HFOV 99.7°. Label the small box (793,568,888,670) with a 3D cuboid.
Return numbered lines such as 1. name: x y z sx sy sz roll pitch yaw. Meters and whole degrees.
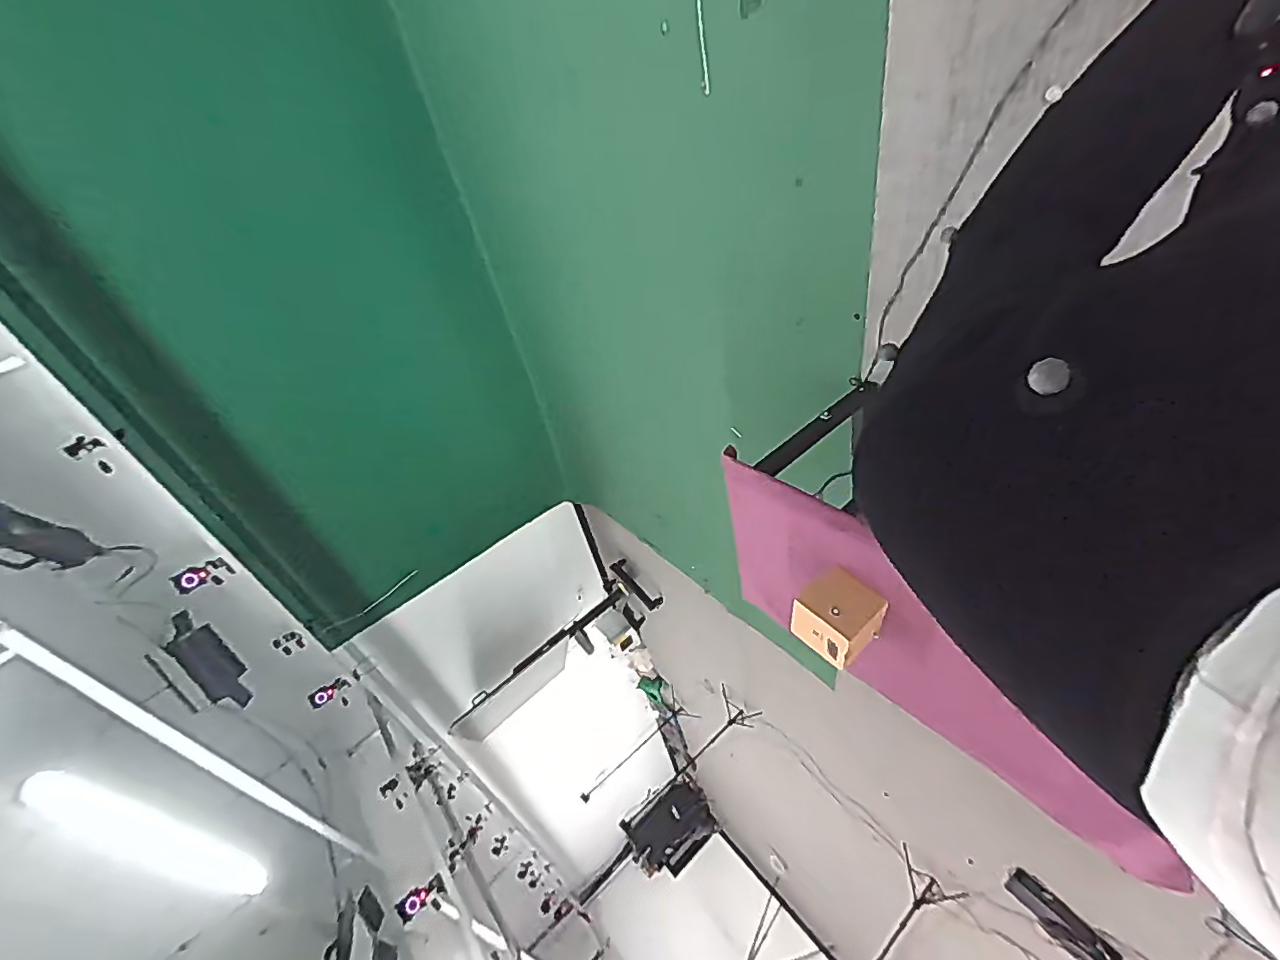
1. small box: 0.547 0.374 1.480 0.179 0.176 0.168 38 151 37
